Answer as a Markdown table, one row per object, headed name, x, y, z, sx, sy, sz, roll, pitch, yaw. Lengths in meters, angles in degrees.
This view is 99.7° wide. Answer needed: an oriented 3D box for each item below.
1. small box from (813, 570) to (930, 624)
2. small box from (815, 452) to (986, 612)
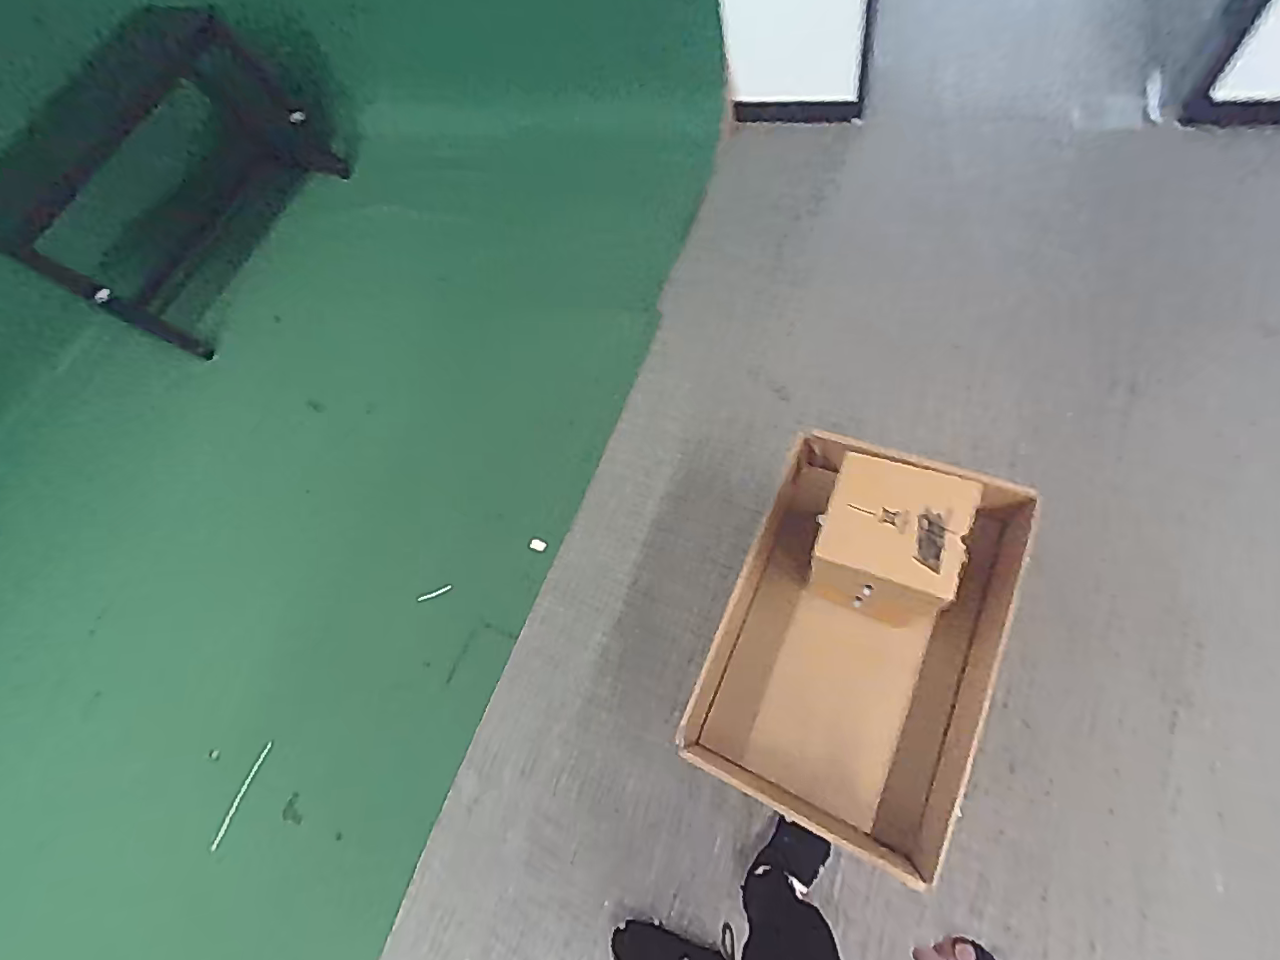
| name | x | y | z | sx | sy | sz | roll | pitch | yaw |
| --- | --- | --- | --- | --- | --- | --- | --- | --- | --- |
| small box | 0.414 | 0.140 | 0.940 | 0.179 | 0.176 | 0.168 | 20 | 75 | 22 |
| small box | 0.369 | 0.083 | 0.792 | 0.179 | 0.176 | 0.168 | 18 | 75 | 23 |
